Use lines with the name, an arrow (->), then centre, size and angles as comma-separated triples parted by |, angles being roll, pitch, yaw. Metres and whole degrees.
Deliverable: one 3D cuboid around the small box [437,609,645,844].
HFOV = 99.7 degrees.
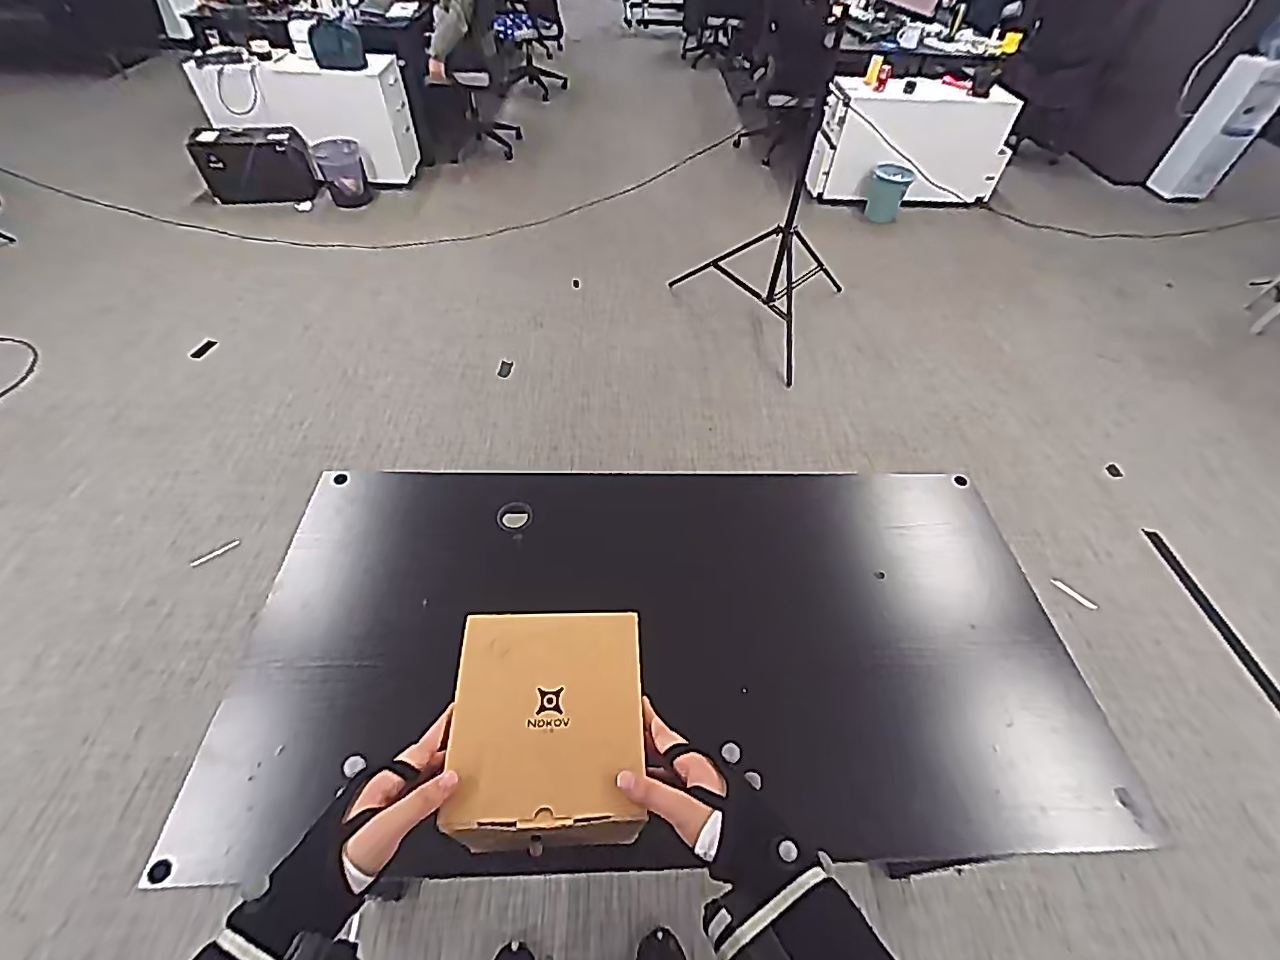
small box -> -0.088, 0.246, 0.538 | 0.168, 0.176, 0.179 | 0, 52, -5
